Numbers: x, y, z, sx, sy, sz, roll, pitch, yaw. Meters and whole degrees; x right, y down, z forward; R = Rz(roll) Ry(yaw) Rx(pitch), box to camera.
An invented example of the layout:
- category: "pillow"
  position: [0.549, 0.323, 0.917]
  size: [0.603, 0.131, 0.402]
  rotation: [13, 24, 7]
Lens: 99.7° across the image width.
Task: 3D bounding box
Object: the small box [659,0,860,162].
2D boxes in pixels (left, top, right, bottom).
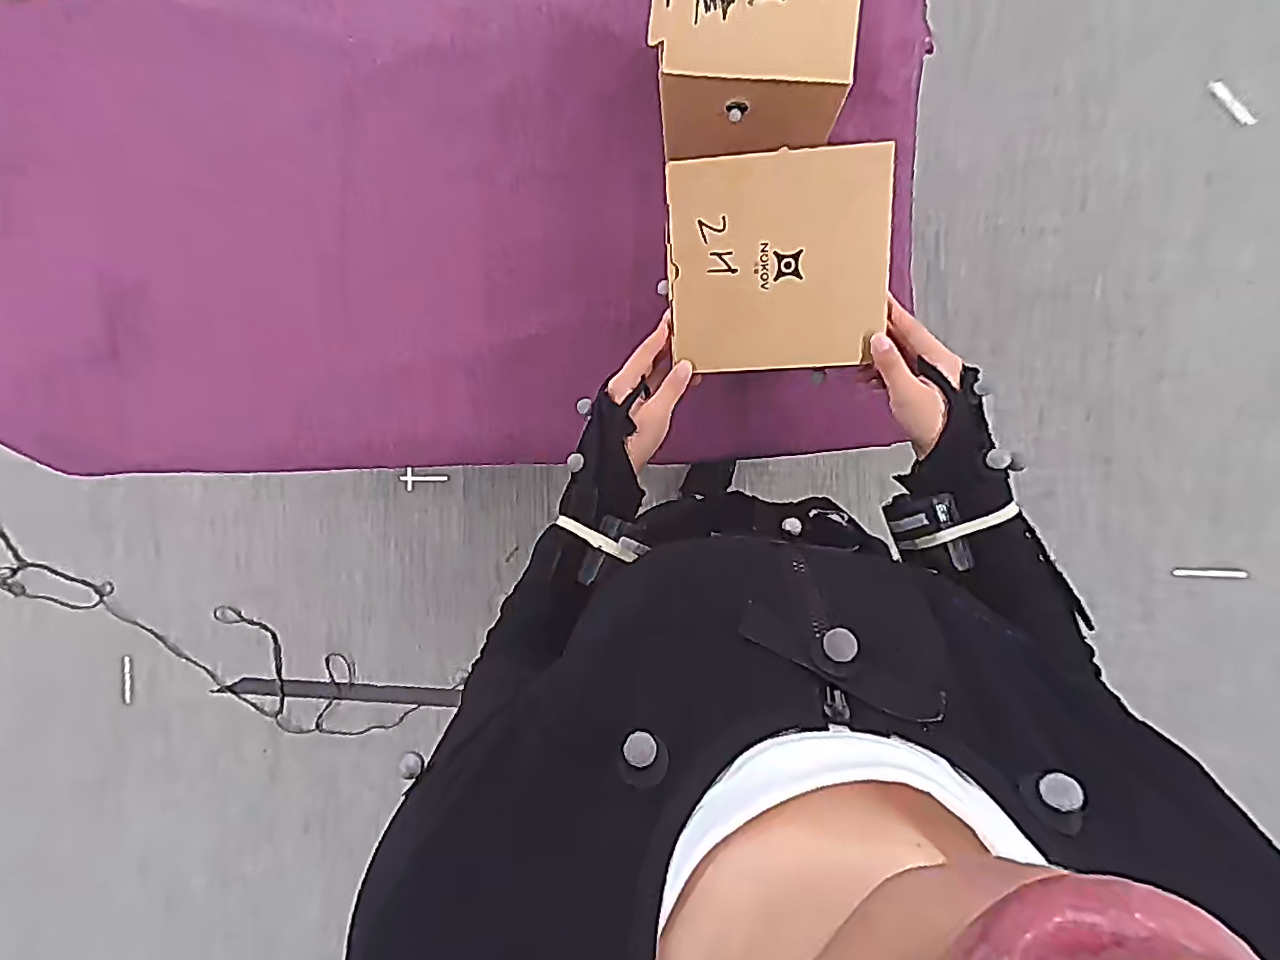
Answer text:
- category: "small box"
  position: [0.119, -0.450, 0.568]
  size: [0.179, 0.176, 0.168]
  rotation: [6, 94, 4]

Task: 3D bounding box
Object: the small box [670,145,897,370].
- category: "small box"
  position: [0.120, -0.194, 0.514]
  size: [0.179, 0.176, 0.168]
  rotation: [-1, 103, 6]
